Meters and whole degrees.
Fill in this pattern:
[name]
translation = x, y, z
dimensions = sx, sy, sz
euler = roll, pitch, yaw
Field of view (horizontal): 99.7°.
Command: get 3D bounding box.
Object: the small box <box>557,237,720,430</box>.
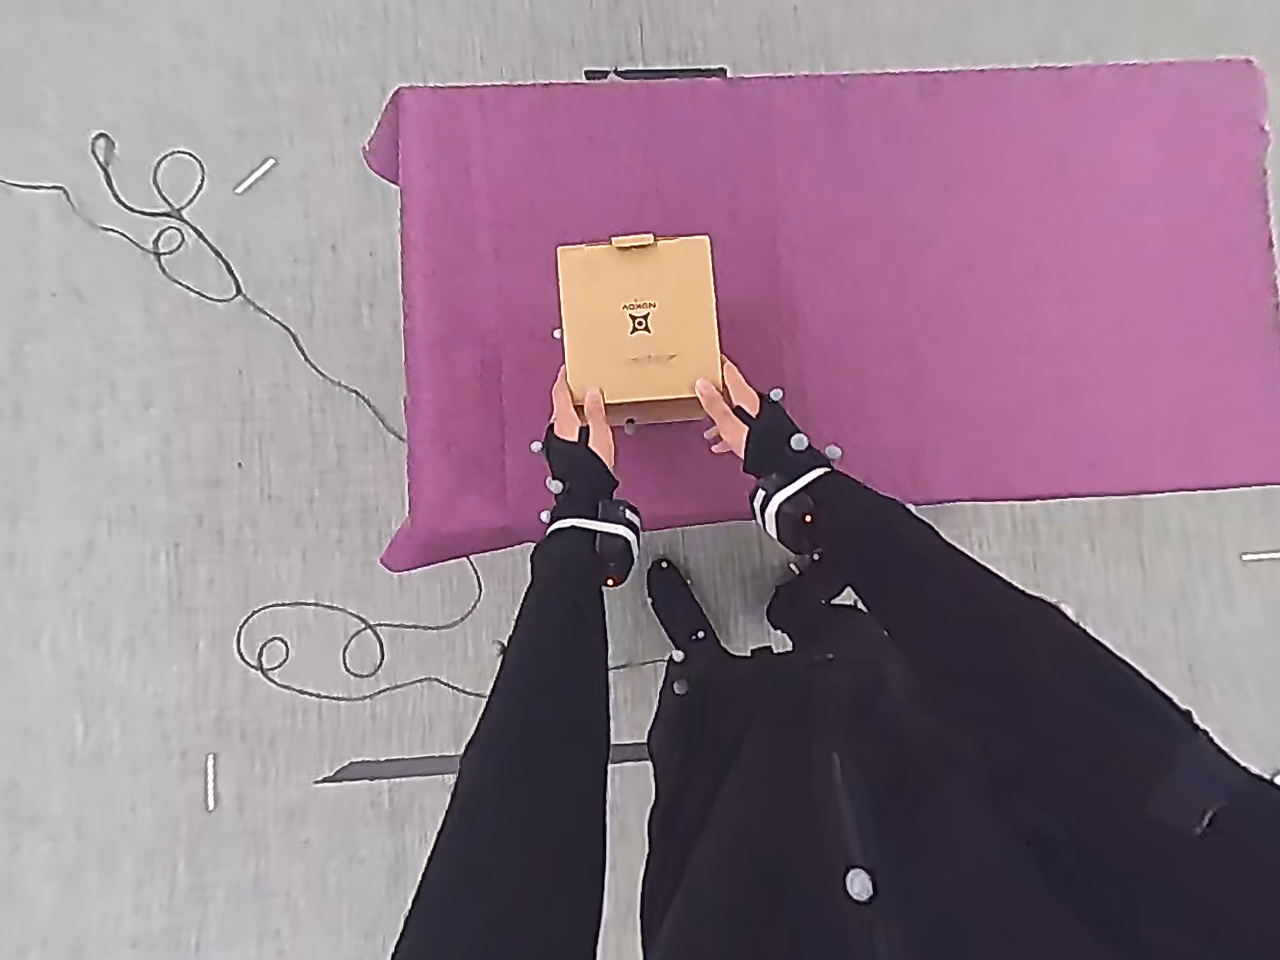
[small box]
translation = -0.004, -0.162, 0.644
dimensions = 0.168, 0.176, 0.179
euler = -4, 87, -1
